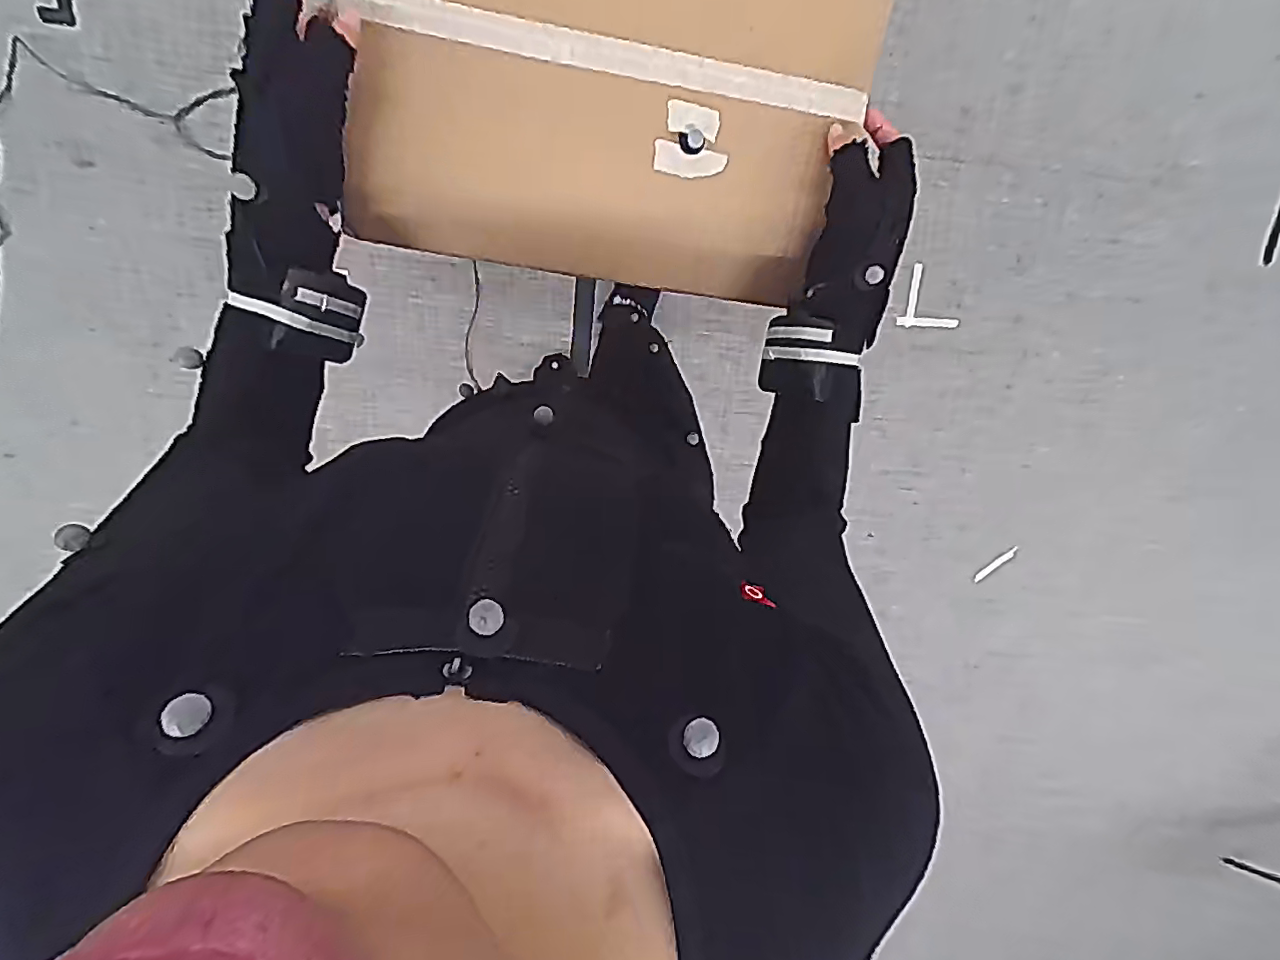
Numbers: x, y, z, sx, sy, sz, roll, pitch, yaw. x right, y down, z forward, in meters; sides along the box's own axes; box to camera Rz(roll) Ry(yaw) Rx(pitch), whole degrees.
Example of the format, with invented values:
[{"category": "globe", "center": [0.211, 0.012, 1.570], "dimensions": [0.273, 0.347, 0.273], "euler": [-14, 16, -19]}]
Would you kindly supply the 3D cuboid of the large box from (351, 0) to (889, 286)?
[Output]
[{"category": "large box", "center": [-0.028, -0.391, 0.549], "dimensions": [0.408, 0.320, 0.320], "euler": [6, 113, -9]}]
